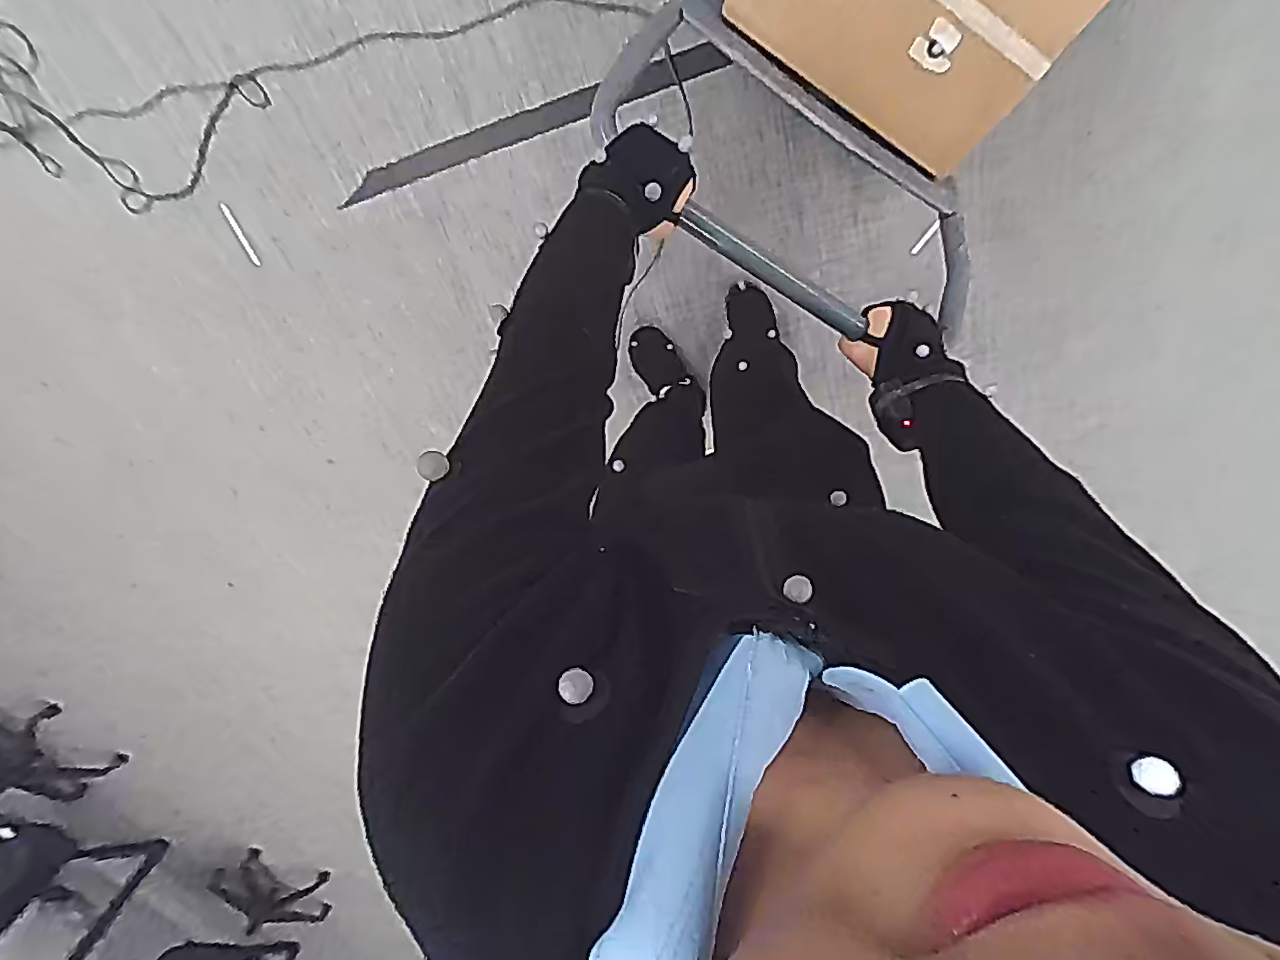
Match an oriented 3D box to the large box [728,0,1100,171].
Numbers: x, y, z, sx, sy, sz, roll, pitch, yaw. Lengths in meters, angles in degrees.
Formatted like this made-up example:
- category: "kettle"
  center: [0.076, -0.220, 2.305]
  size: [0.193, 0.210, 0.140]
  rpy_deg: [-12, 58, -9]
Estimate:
- category: "large box"
  center: [0.387, -0.741, 0.769]
  size: [0.408, 0.320, 0.320]
  rpy_deg: [27, 140, -12]
